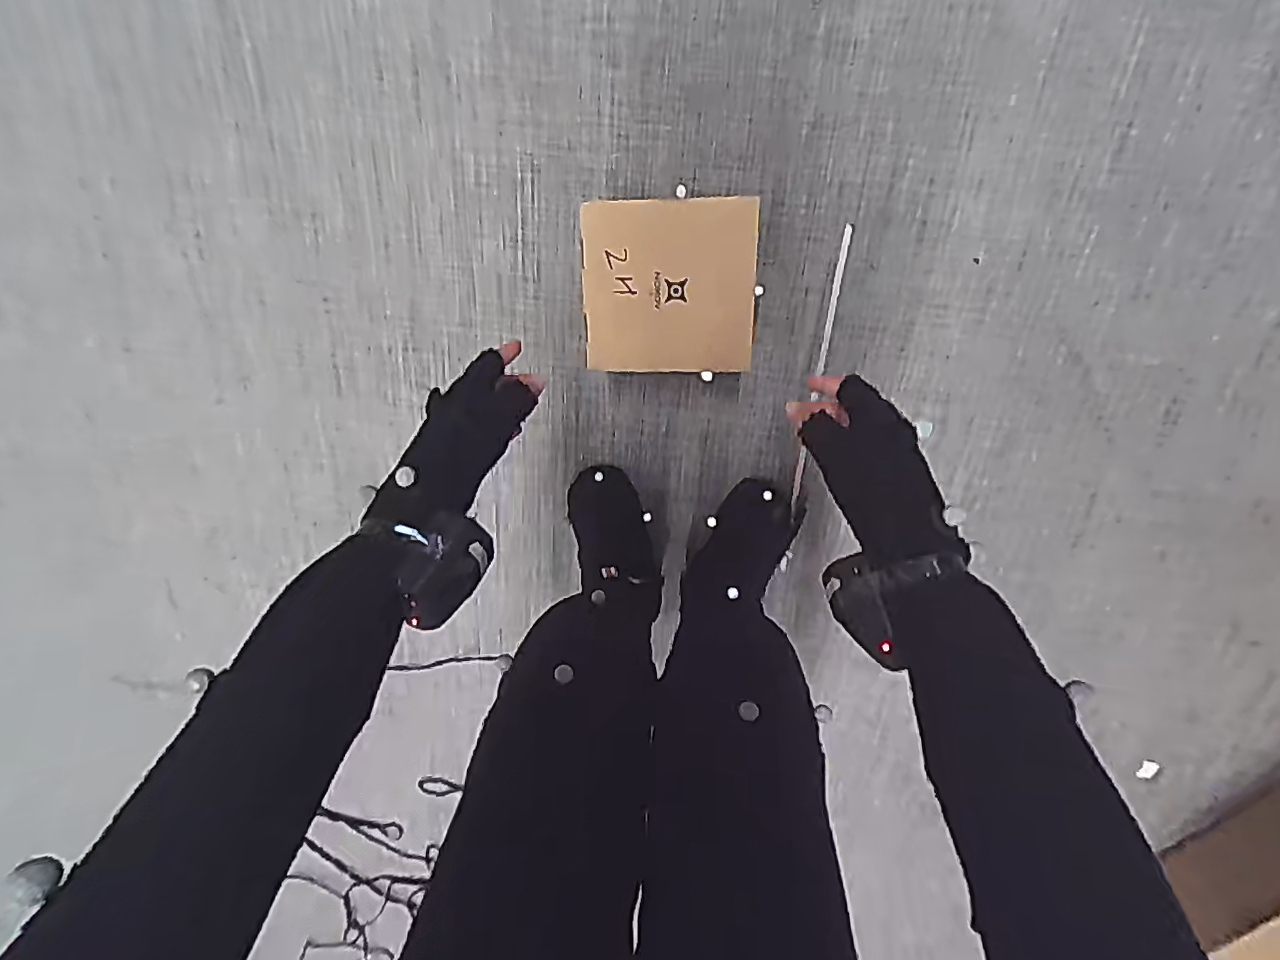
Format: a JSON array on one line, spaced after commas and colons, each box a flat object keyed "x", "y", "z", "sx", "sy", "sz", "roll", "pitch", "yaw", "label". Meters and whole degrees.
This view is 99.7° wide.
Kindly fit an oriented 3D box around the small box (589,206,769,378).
[{"x": 0.045, "y": -0.215, "z": 0.619, "sx": 0.179, "sy": 0.176, "sz": 0.168, "roll": 2, "pitch": 111, "yaw": 7, "label": "small box"}]
